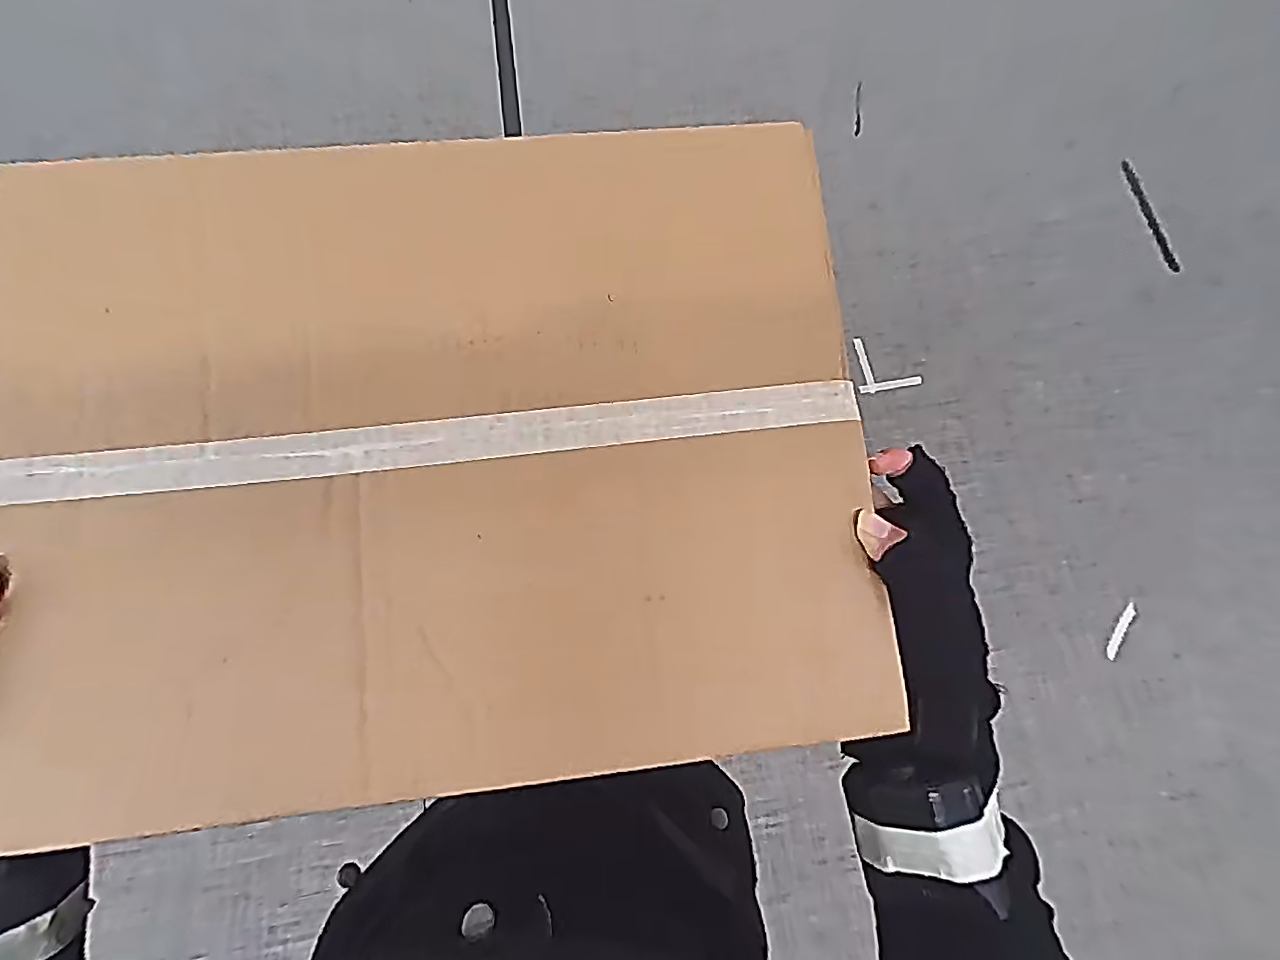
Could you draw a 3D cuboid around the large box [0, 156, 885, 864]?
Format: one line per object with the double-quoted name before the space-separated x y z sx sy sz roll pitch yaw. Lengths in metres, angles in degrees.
"large box" -0.100 0.013 0.411 0.408 0.320 0.320 -6 82 -4
